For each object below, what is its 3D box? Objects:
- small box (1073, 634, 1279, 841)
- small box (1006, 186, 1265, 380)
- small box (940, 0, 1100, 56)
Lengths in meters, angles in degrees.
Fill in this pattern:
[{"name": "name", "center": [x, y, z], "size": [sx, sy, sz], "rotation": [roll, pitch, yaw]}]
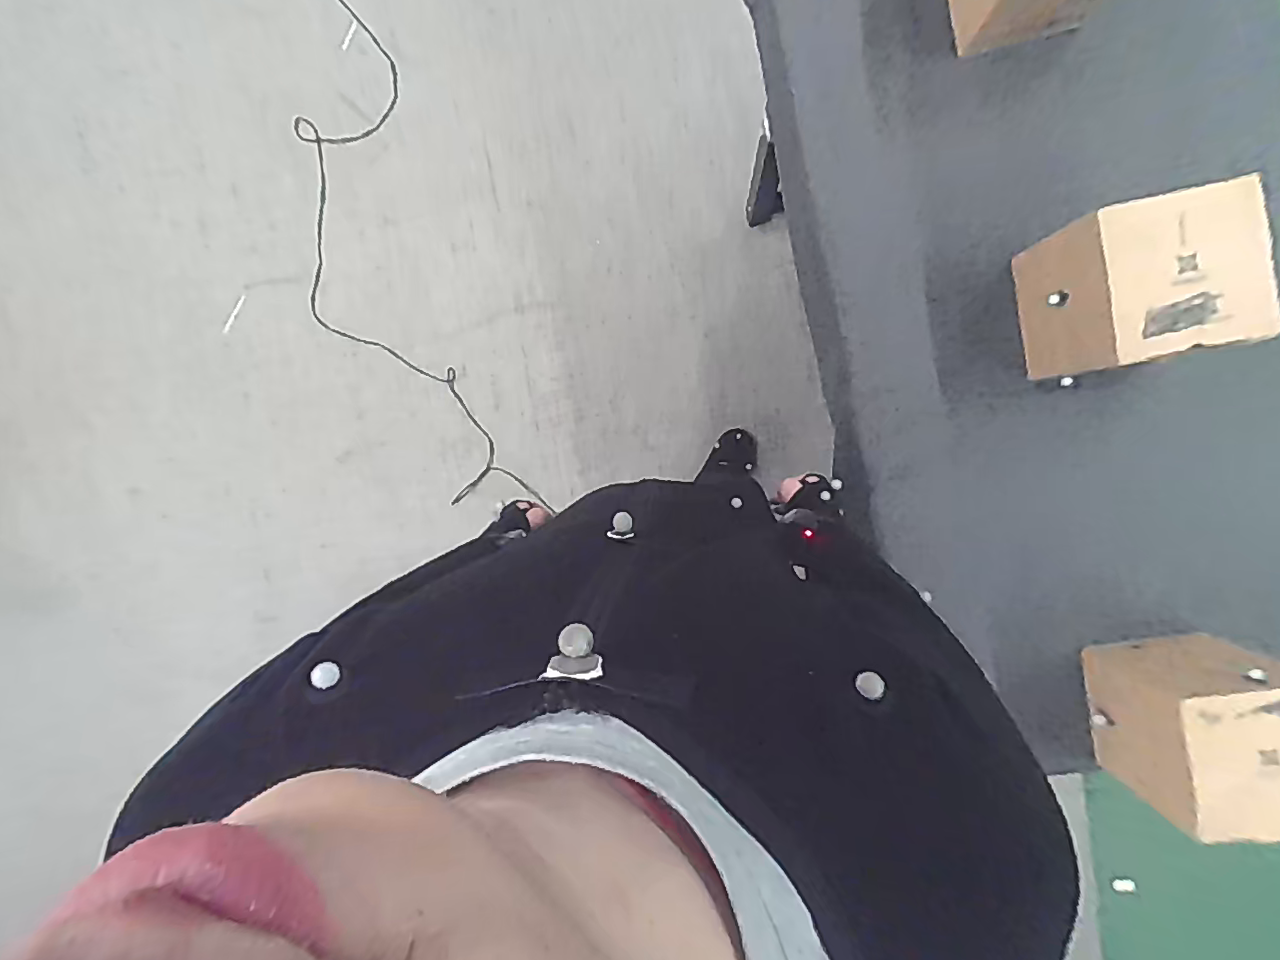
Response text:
[{"name": "small box", "center": [0.710, 0.320, 0.699], "size": [0.168, 0.176, 0.179], "rotation": [-9, 93, 5]}, {"name": "small box", "center": [0.598, -0.227, 0.676], "size": [0.168, 0.176, 0.179], "rotation": [-10, 92, 5]}, {"name": "small box", "center": [0.486, -0.665, 0.658], "size": [0.168, 0.176, 0.179], "rotation": [-12, 92, 4]}]
